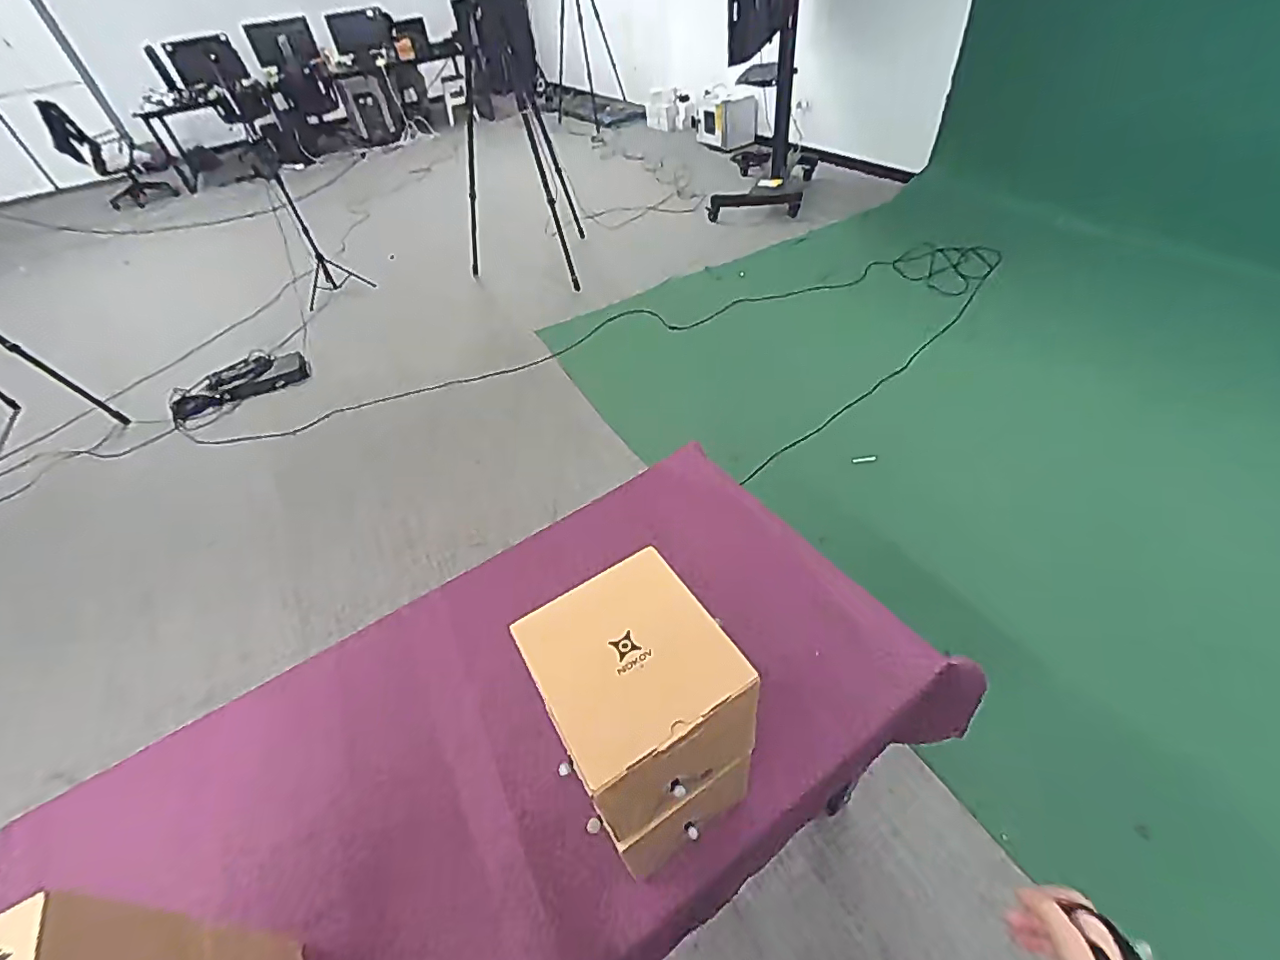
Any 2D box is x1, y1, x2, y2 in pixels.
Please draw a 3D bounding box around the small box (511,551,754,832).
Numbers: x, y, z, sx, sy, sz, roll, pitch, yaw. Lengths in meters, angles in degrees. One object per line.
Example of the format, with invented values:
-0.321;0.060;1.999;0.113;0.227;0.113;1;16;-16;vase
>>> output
-0.007;0.212;0.548;0.168;0.176;0.179;-27;49;-18;small box
